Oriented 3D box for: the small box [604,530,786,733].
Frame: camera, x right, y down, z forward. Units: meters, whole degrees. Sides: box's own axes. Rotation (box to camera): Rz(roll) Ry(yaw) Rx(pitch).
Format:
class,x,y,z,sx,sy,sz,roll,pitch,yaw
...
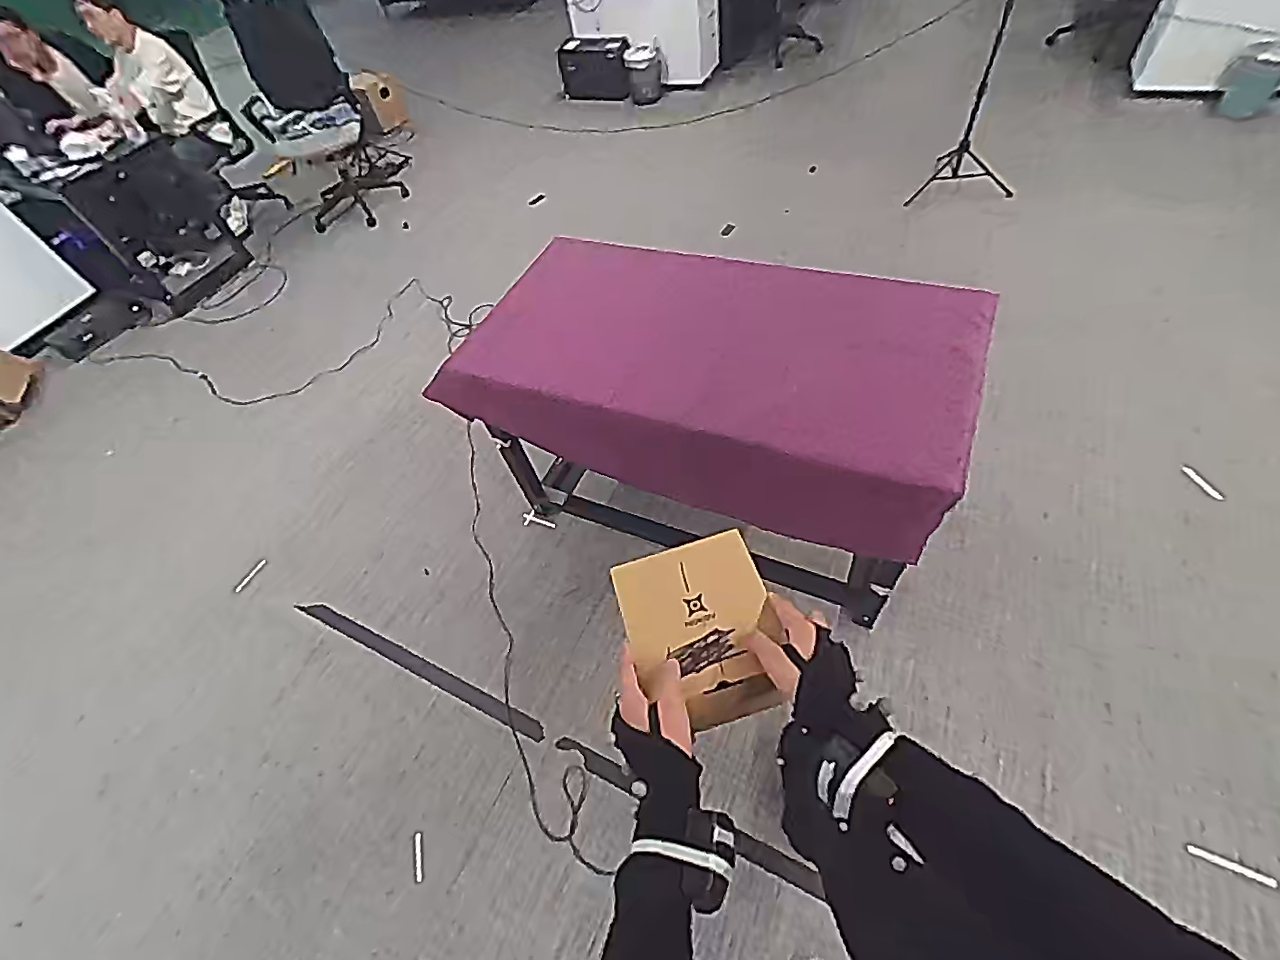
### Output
class,x,y,z,sx,sy,sz,roll,pitch,yaw
small box,0.067,0.196,0.671,0.168,0.176,0.179,-17,53,-3
